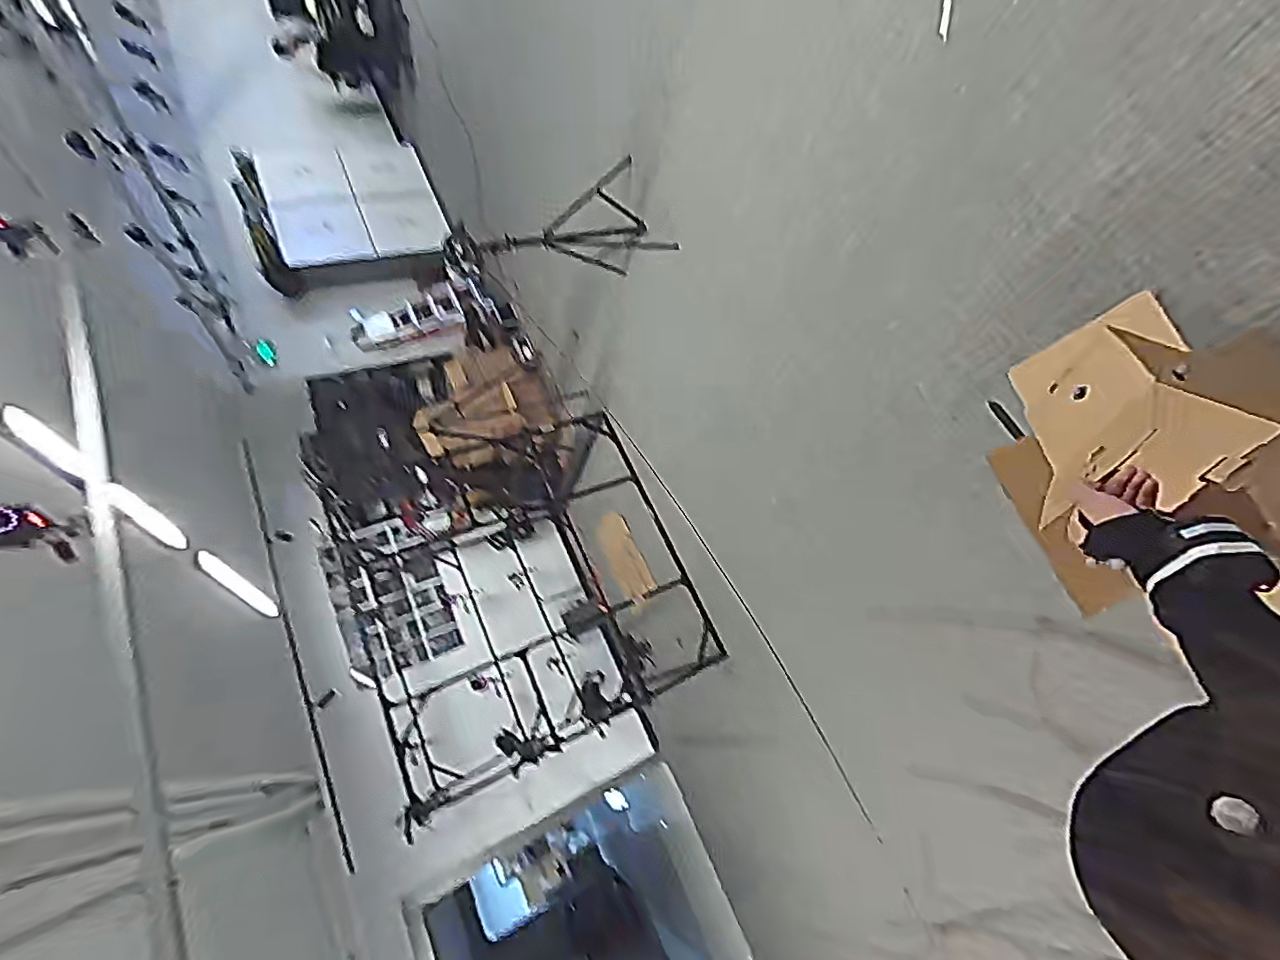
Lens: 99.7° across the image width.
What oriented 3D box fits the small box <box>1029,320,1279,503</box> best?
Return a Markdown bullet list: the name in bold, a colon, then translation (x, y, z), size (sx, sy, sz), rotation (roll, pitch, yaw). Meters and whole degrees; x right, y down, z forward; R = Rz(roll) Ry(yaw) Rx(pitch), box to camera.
- **small box**: translation (0.702, -0.103, 0.764), size (0.176, 0.179, 0.168), rotation (-70, 1, -45)
